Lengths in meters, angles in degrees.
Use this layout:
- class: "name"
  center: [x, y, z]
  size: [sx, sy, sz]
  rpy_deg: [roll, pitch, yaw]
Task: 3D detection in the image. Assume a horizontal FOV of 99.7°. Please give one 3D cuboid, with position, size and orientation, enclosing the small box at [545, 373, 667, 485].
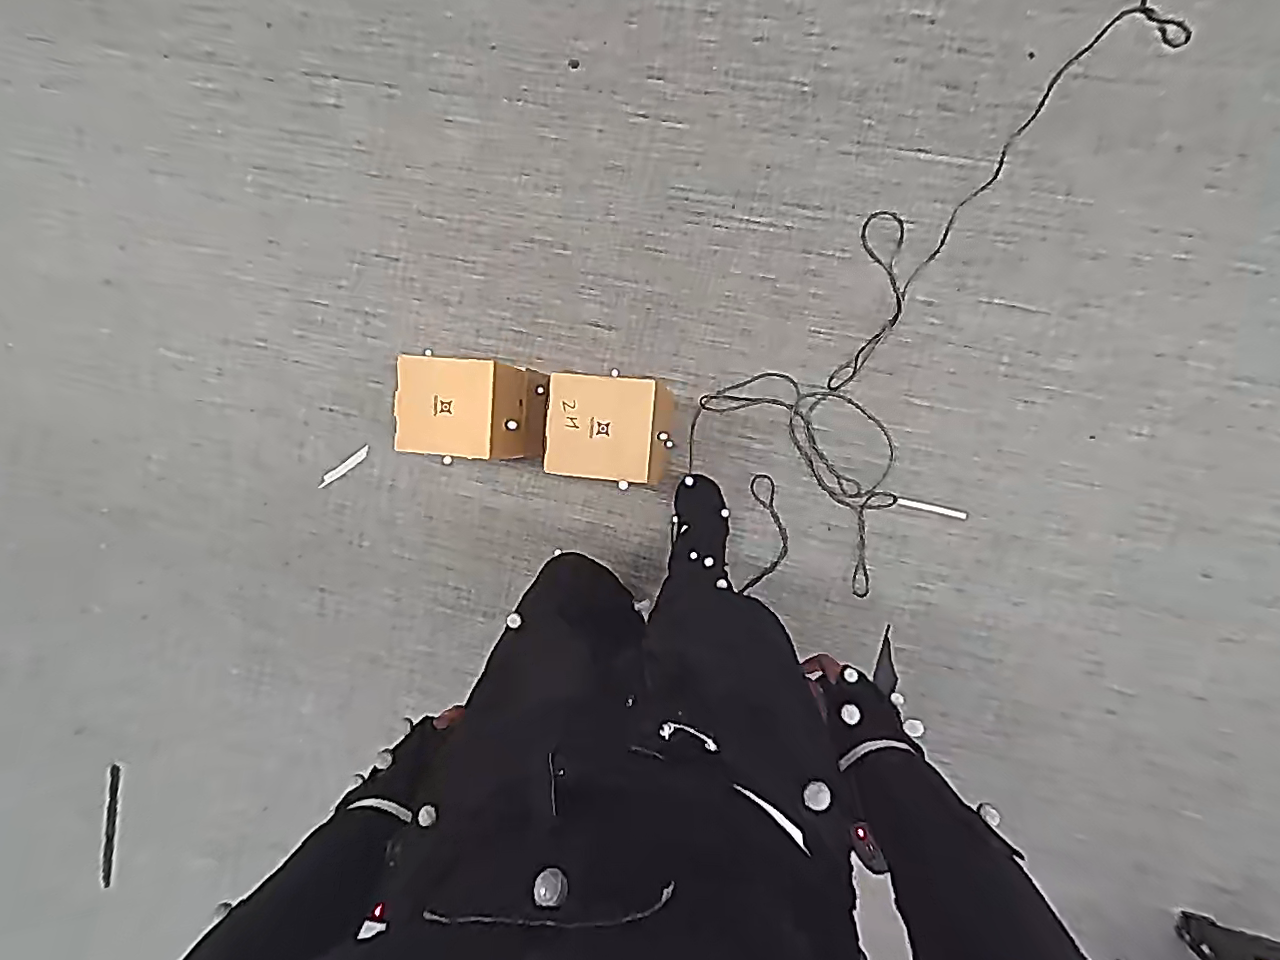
- class: "small box"
  center: [-0.050, -0.089, 0.938]
  size: [0.179, 0.176, 0.168]
  rpy_deg: [6, 95, 9]

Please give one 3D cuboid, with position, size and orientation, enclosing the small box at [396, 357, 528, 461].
- class: "small box"
  center: [-0.313, -0.126, 0.980]
  size: [0.179, 0.176, 0.168]
  rpy_deg: [5, 95, 9]

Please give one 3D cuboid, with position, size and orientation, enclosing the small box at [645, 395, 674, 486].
- class: "small box"
  center: [-0.025, -0.091, 1.101]
  size: [0.168, 0.176, 0.179]
  rpy_deg: [8, 96, 9]
